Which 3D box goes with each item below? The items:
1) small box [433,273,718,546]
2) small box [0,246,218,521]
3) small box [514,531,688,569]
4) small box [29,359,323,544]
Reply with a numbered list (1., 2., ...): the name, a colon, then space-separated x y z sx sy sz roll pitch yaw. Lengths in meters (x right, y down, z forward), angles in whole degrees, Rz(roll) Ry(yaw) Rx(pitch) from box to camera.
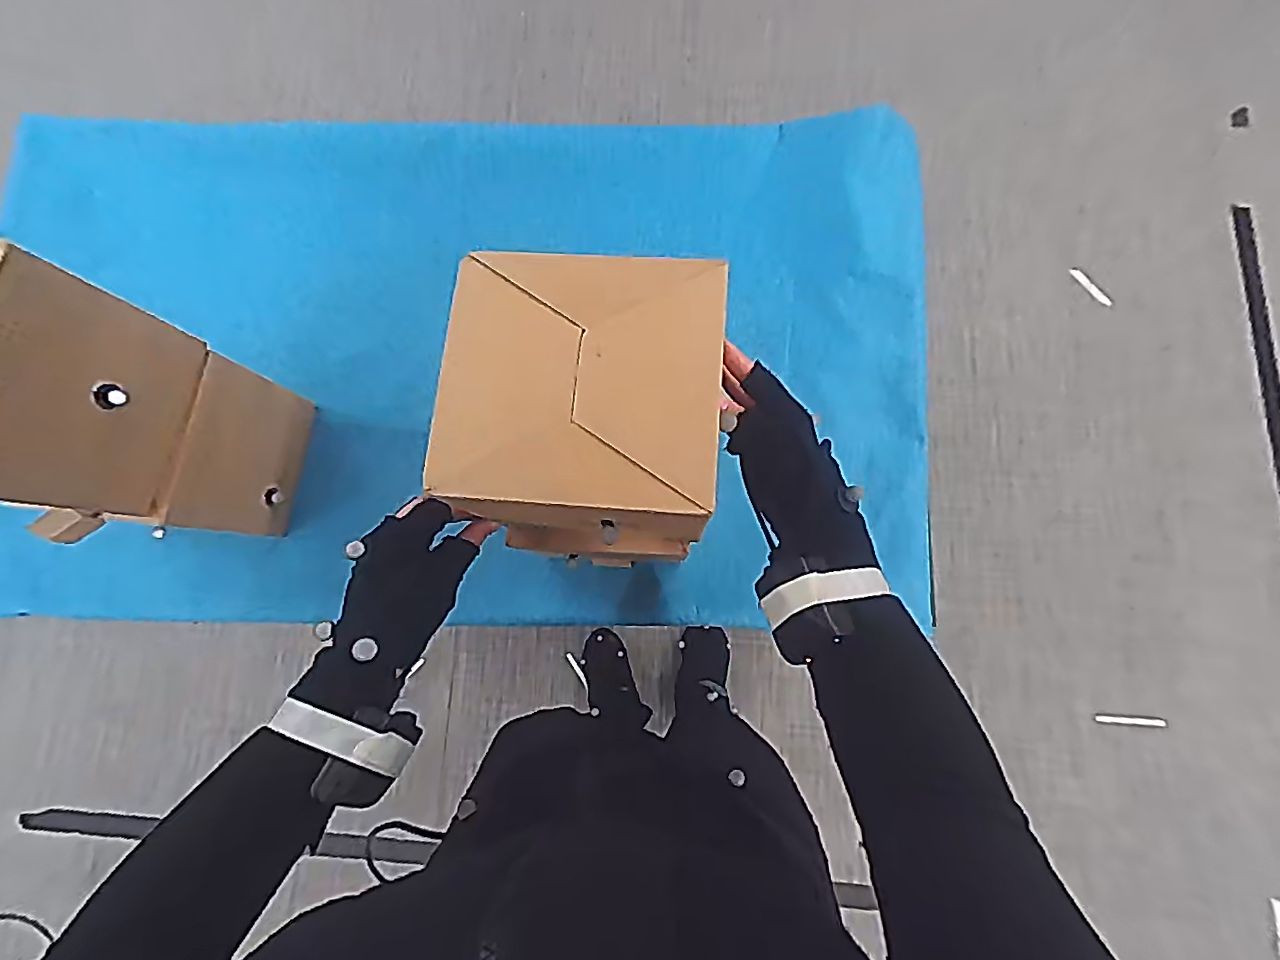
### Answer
1. small box: -0.031 -0.041 0.419 0.179 0.176 0.168 4 77 5
2. small box: -0.512 -0.073 0.442 0.168 0.176 0.179 11 81 4
3. small box: -0.030 0.001 0.578 0.168 0.176 0.179 1 78 3
4. small box: -0.499 -0.030 0.601 0.168 0.176 0.179 7 80 3
